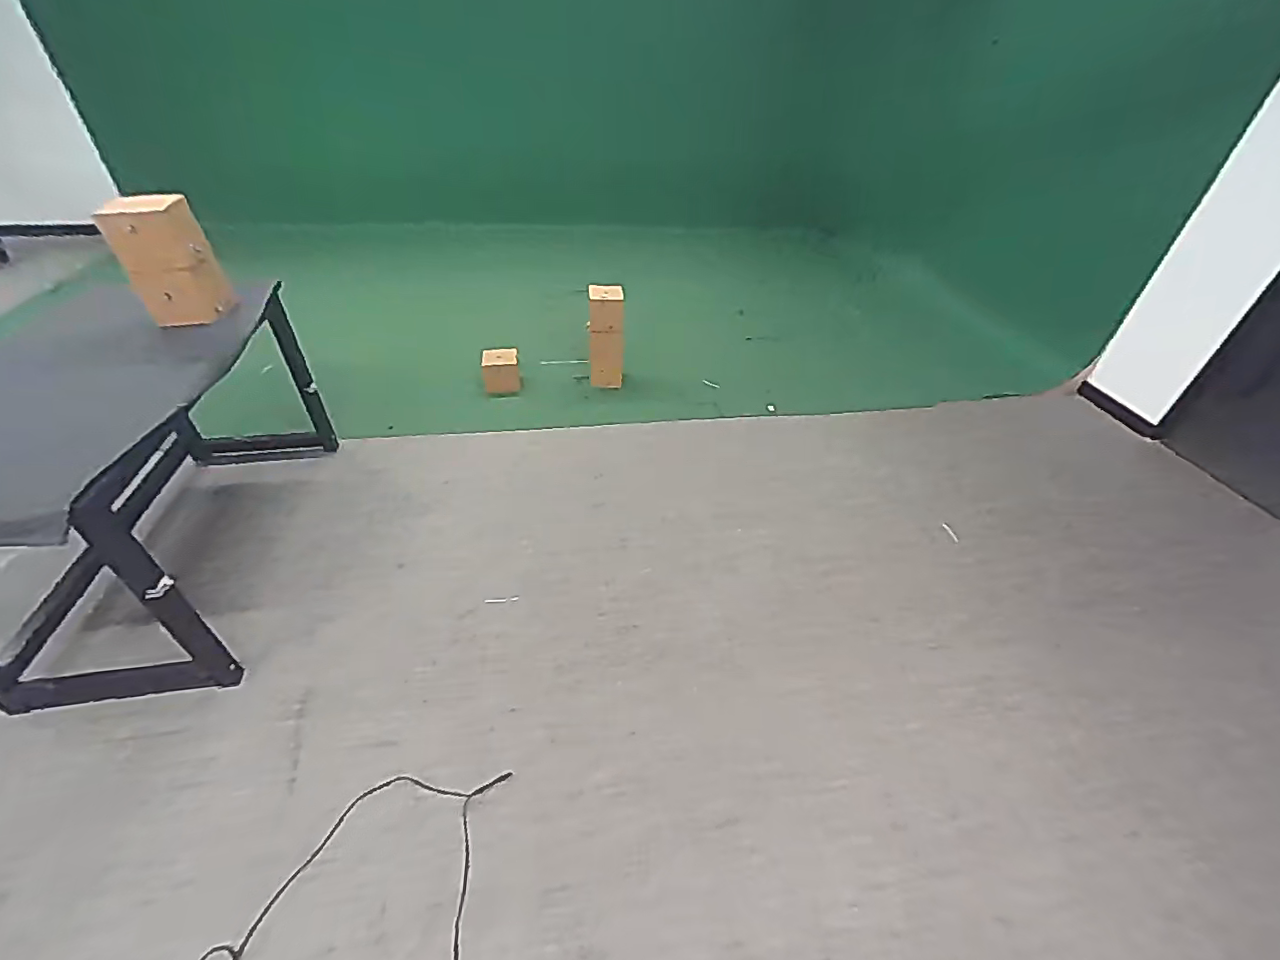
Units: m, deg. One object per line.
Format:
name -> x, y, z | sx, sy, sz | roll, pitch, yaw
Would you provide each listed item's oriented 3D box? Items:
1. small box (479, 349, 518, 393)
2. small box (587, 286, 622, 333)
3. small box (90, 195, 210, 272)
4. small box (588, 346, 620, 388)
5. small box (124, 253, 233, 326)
small box -> -0.736, -0.566, 2.826 | 0.179, 0.176, 0.168 | -5, 42, -10
small box -> -0.181, -0.852, 2.700 | 0.168, 0.176, 0.179 | -1, 40, -7
small box -> -1.417, -0.717, 1.578 | 0.179, 0.176, 0.168 | -8, 43, -11
small box -> -0.193, -0.610, 2.922 | 0.168, 0.176, 0.179 | 1, 40, -3
small box -> -1.423, -0.596, 1.686 | 0.179, 0.176, 0.168 | -7, 42, -7
